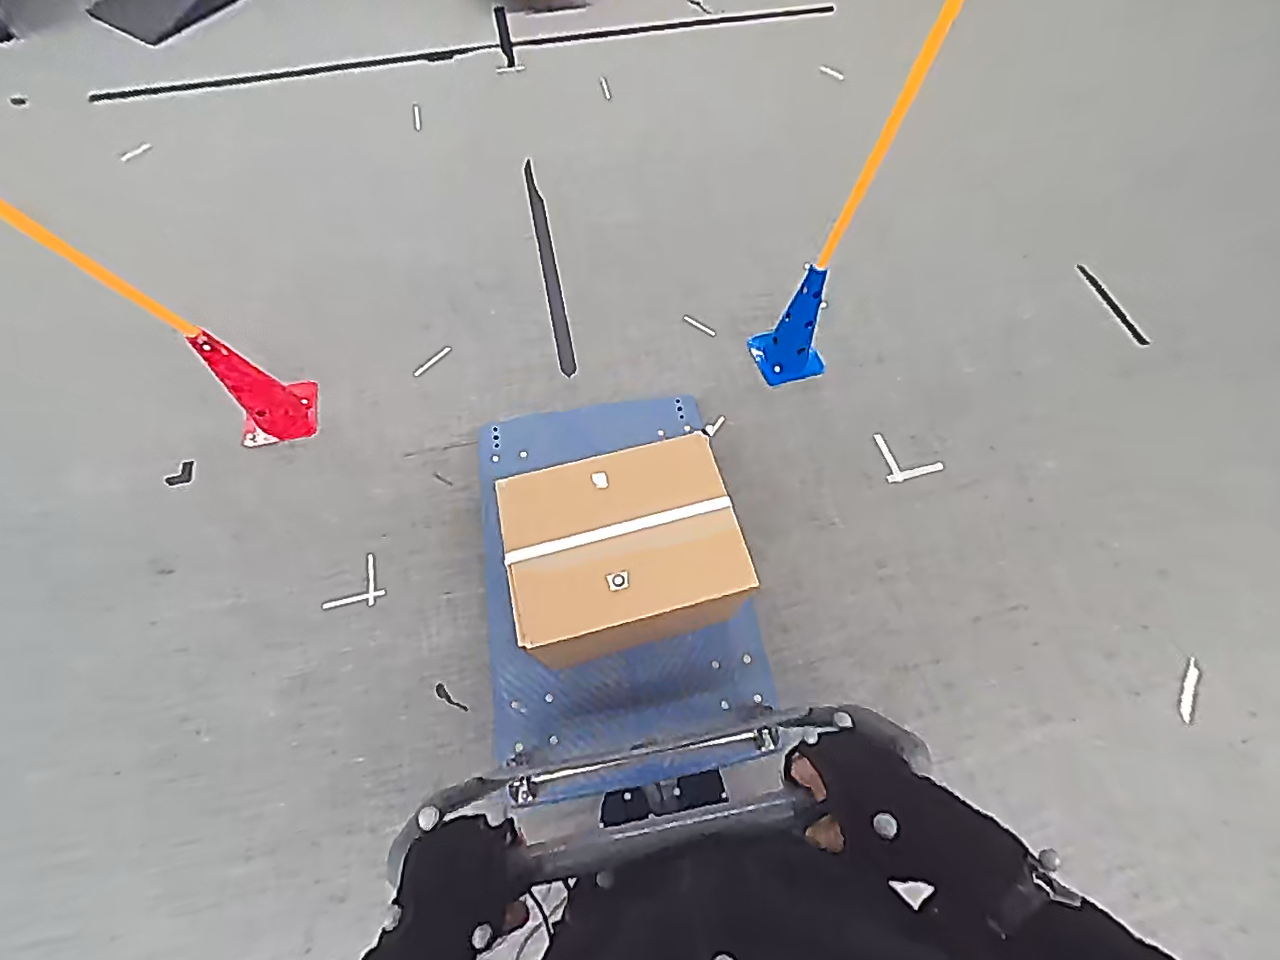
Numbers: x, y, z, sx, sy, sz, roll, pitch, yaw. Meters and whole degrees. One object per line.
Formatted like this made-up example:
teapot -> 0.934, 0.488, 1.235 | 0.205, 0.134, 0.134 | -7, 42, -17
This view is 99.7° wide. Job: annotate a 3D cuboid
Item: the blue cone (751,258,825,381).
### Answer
blue cone -> 0.468, -0.474, 1.568 | 0.193, 0.380, 0.192 | -15, 64, -8
